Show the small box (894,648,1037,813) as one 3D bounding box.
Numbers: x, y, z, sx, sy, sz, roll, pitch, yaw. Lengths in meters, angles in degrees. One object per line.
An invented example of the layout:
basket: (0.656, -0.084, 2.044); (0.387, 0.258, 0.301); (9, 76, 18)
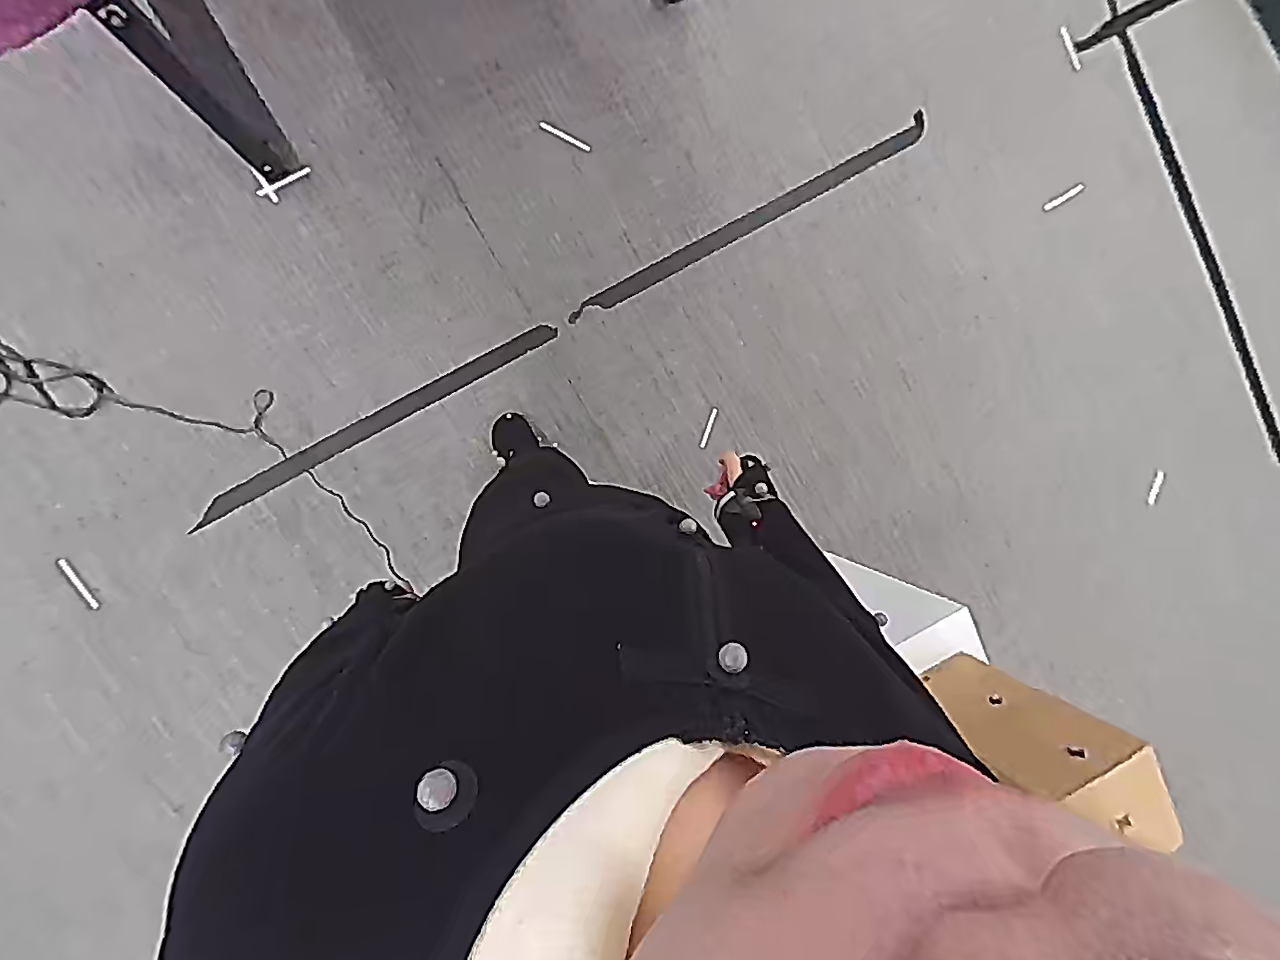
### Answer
small box: (0.598, 0.439, 0.975); (0.168, 0.176, 0.179); (-25, 99, -8)

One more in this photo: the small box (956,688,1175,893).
small box: (0.626, 0.448, 0.812); (0.179, 0.176, 0.168); (-25, 98, -7)
